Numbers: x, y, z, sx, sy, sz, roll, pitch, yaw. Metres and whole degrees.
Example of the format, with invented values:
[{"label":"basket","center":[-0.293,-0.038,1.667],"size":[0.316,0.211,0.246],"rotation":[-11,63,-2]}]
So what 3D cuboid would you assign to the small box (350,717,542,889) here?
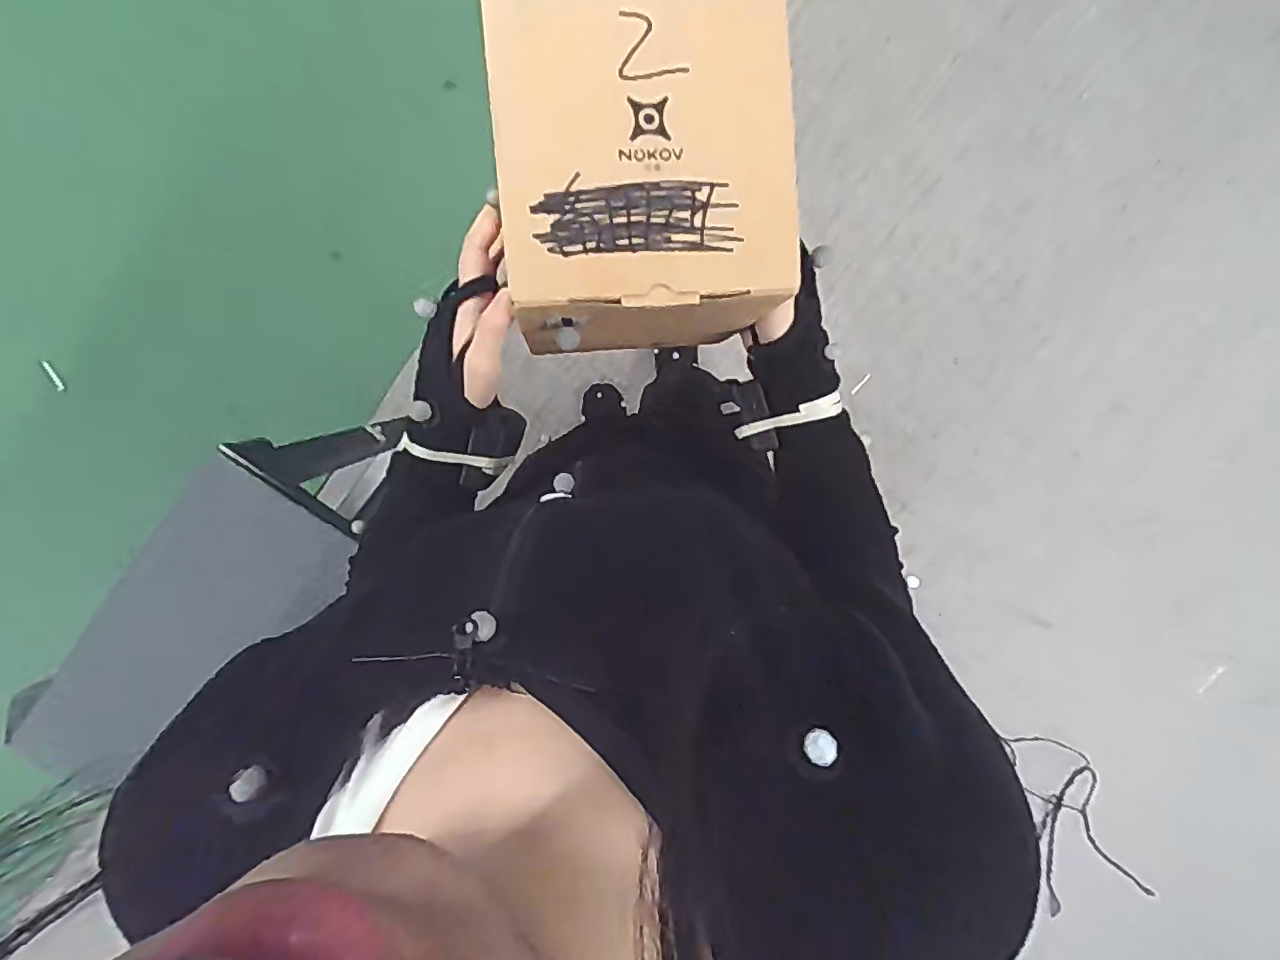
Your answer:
[{"label":"small box","center":[-0.256,0.483,0.764],"size":[0.168,0.176,0.179],"rotation":[38,98,-10]}]
